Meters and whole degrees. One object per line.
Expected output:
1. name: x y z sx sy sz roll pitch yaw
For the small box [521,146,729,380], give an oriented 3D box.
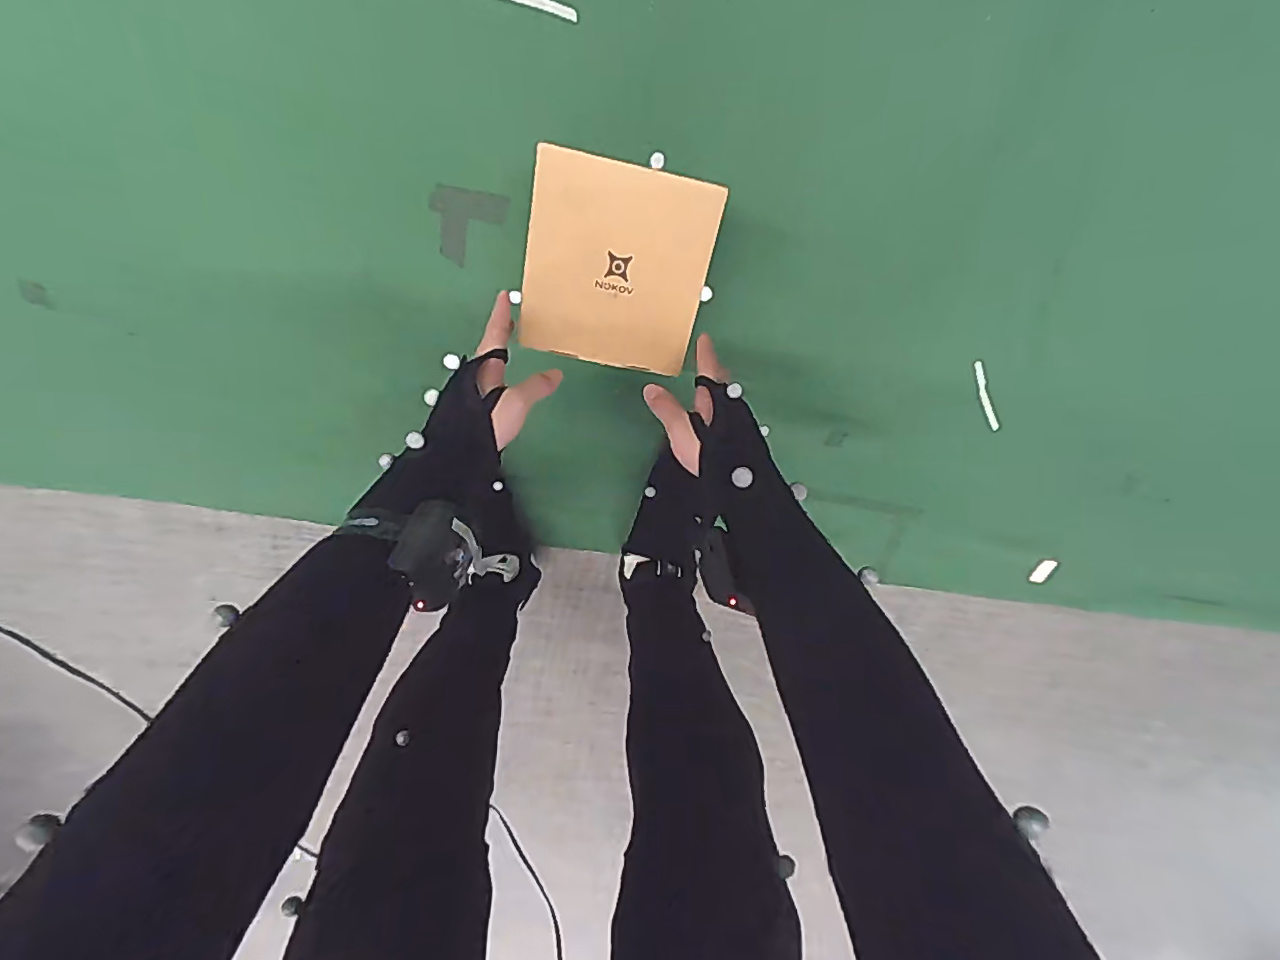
1. small box: -0.024 -0.227 0.564 0.168 0.176 0.179 9 119 -8
